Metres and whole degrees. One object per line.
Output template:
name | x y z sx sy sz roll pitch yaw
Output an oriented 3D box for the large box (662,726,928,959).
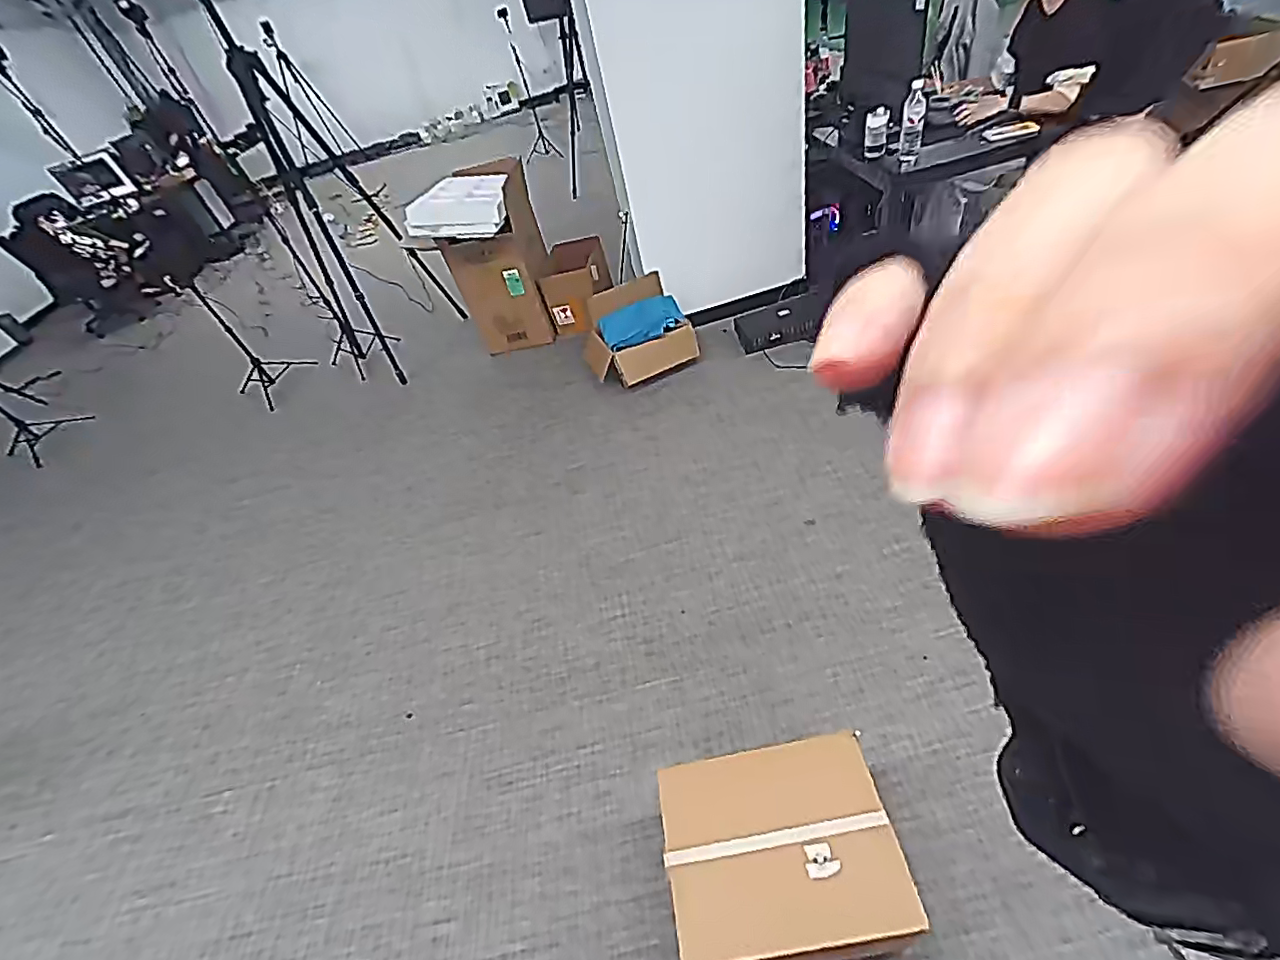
large box | 0.284 0.748 1.085 0.408 0.320 0.320 -13 44 3
